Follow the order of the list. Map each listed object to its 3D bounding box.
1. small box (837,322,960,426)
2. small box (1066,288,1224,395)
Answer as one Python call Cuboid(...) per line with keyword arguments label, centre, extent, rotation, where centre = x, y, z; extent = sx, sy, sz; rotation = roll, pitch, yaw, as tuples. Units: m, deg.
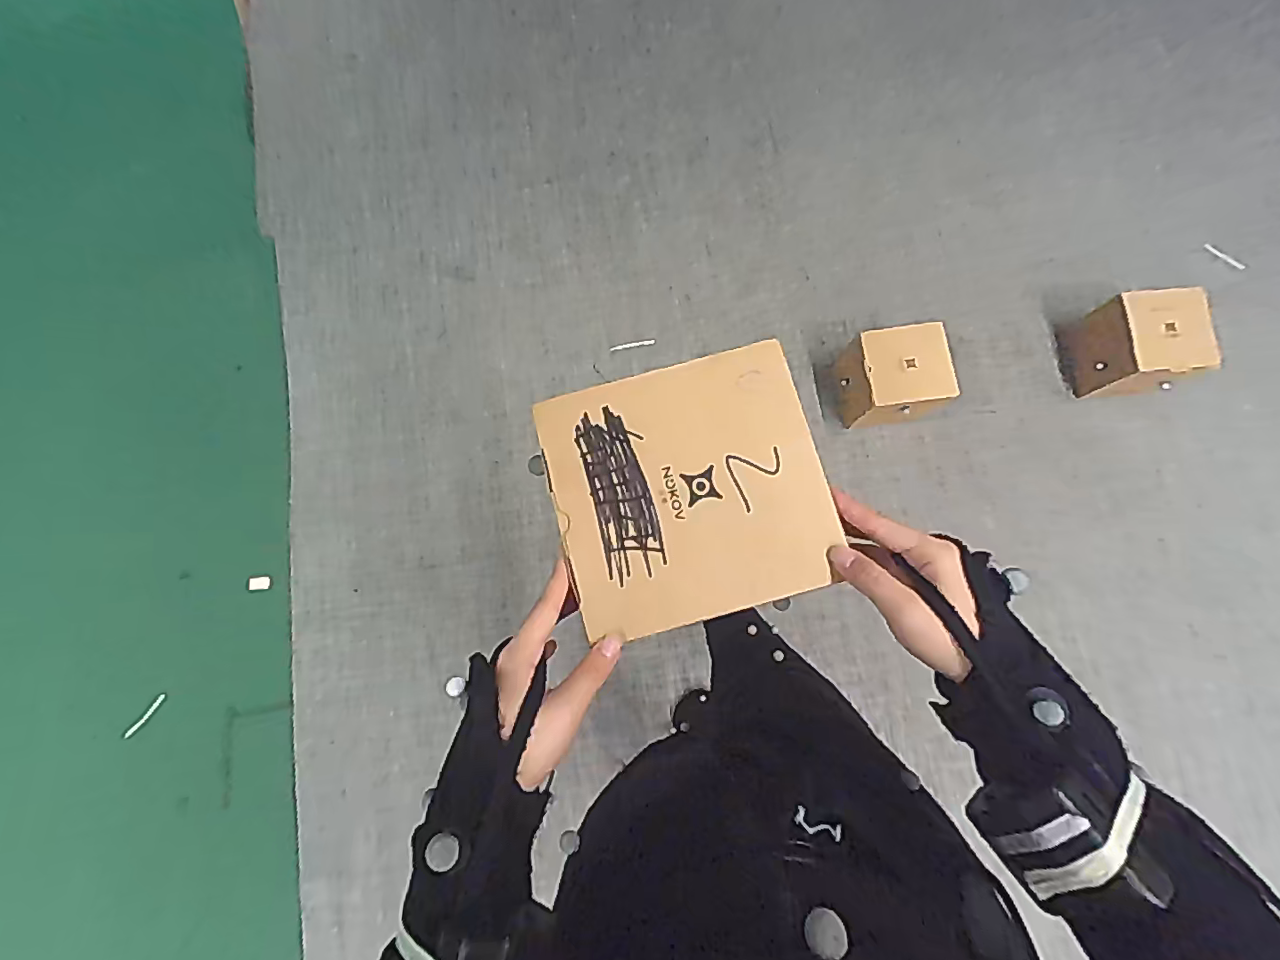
Cuboid(label="small box", centre=(0.553, -0.224, 1.181), extent=(0.179, 0.176, 0.168), rotation=(-8, 80, 2))
Cuboid(label="small box", centre=(1.073, -0.288, 1.165), extent=(0.168, 0.176, 0.179), rotation=(-3, 79, 1))
